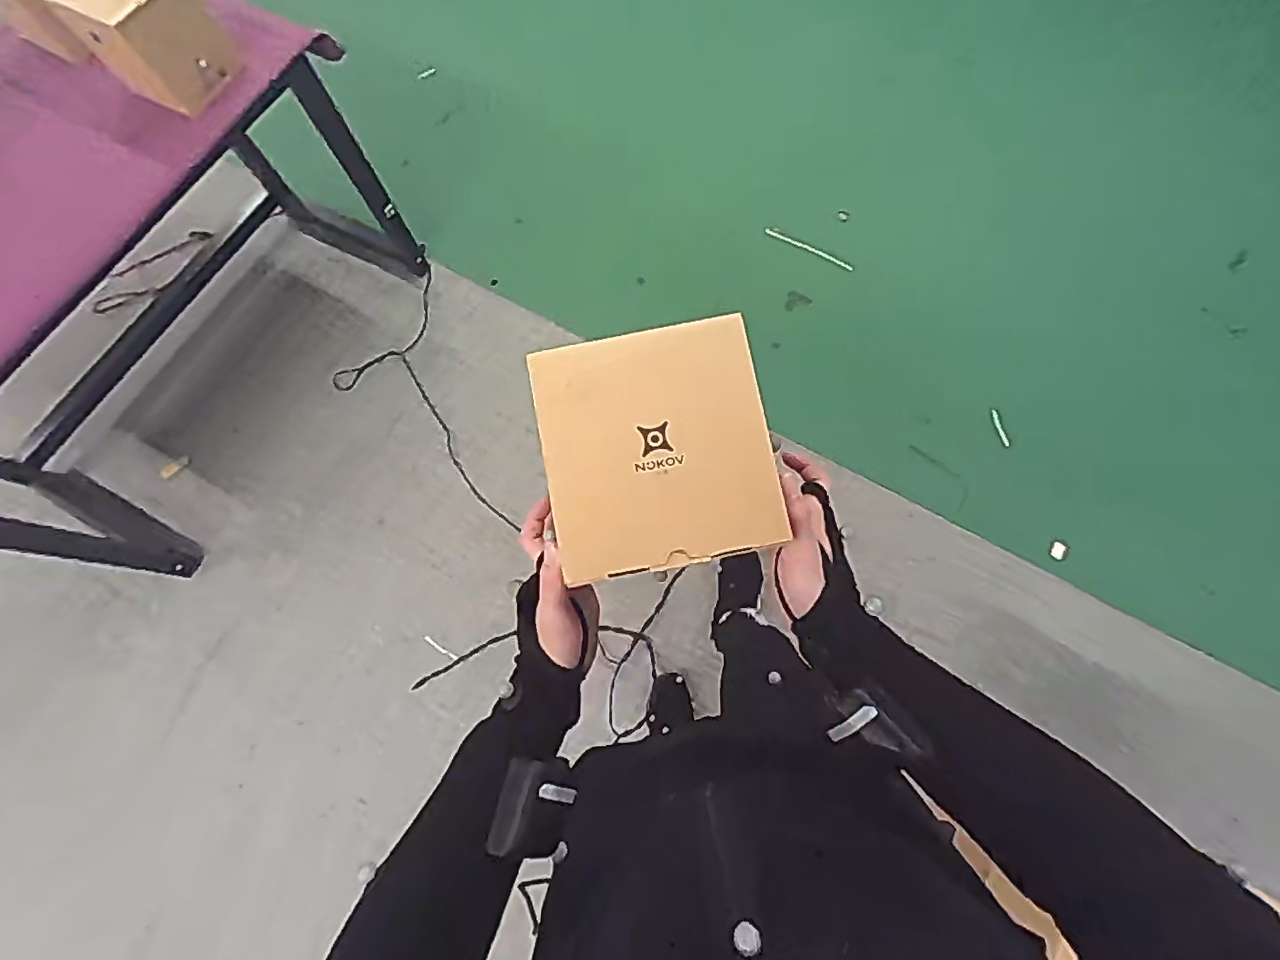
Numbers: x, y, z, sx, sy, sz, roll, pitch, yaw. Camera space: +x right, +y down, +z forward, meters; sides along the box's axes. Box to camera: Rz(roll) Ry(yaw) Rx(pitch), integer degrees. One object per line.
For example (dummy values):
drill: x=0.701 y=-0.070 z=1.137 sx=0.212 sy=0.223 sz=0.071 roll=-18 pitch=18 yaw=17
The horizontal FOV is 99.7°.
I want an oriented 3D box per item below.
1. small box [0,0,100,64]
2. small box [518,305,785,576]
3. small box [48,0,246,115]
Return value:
small box: x=-1.175 y=-0.973 z=1.066 sx=0.179 sy=0.176 sz=0.168 roll=29 pitch=76 yaw=10
small box: x=0.005 y=-0.020 z=0.464 sx=0.168 sy=0.176 sz=0.179 roll=-12 pitch=82 yaw=-1
small box: x=-0.905 y=-0.831 z=1.010 sx=0.179 sy=0.176 sz=0.168 roll=27 pitch=77 yaw=9
